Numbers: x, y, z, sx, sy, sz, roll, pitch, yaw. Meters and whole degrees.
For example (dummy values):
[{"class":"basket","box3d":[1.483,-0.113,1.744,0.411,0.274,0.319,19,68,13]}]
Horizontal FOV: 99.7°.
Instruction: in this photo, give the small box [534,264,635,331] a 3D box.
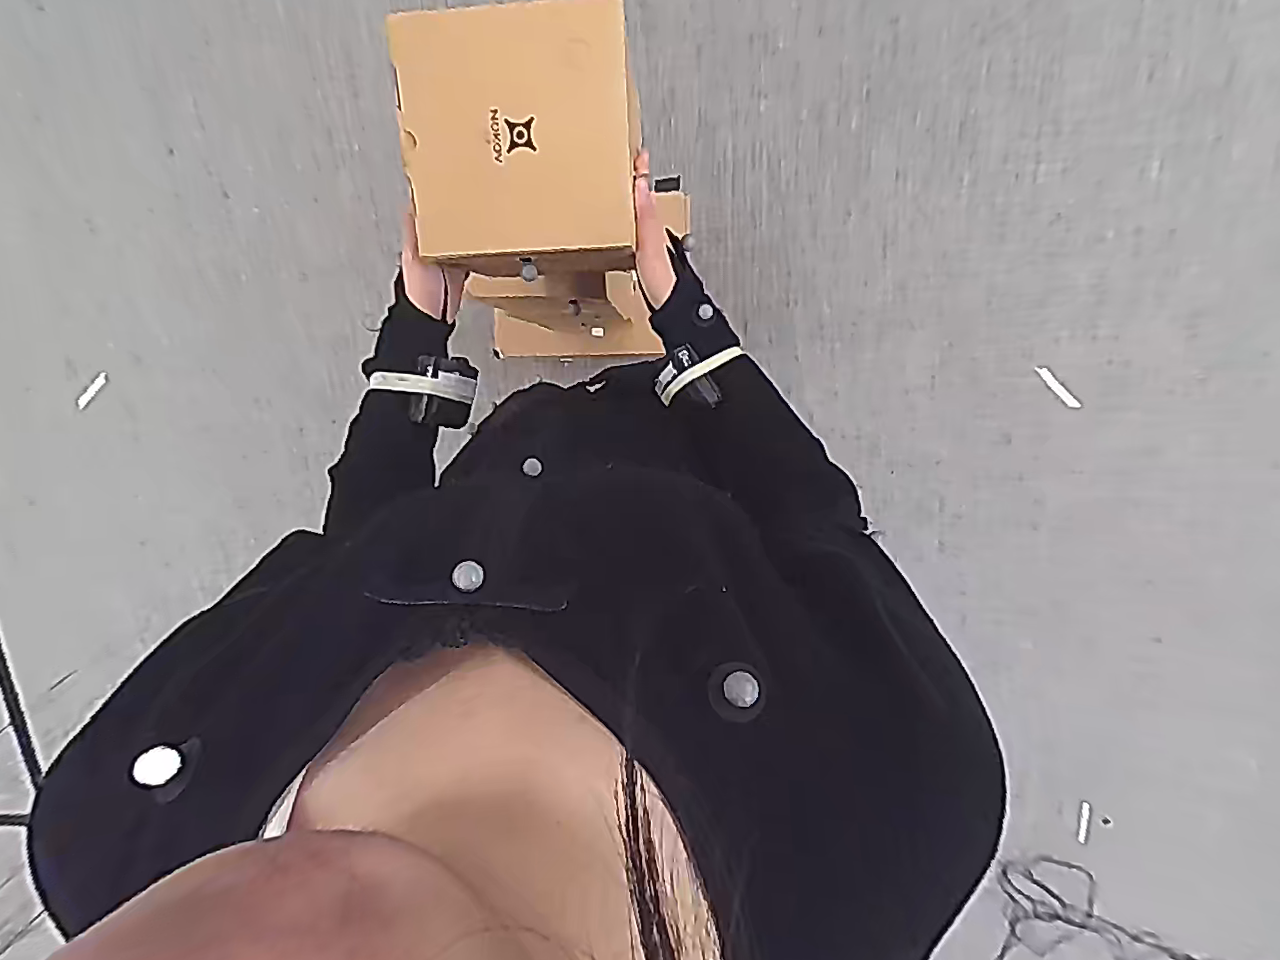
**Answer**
[{"class":"small box","box3d":[-0.103,-0.377,1.027,0.179,0.176,0.168,-3,102,2]}]

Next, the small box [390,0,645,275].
[{"class":"small box","box3d":[-0.087,-0.280,0.485,0.179,0.176,0.168,-1,106,6]}]

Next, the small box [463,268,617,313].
[{"class":"small box","box3d":[-0.120,-0.313,0.705,0.179,0.176,0.168,1,102,2]}]
